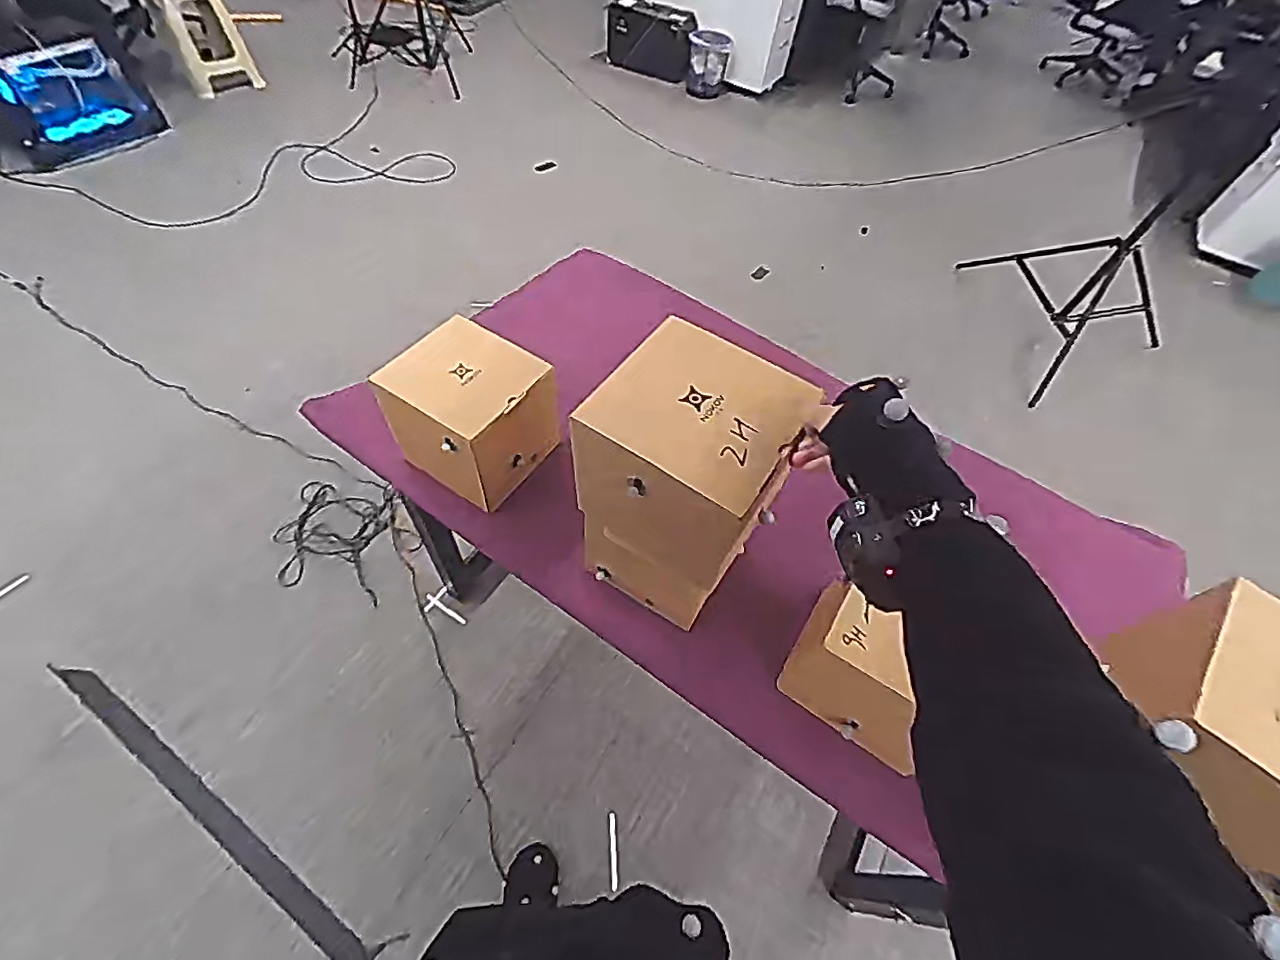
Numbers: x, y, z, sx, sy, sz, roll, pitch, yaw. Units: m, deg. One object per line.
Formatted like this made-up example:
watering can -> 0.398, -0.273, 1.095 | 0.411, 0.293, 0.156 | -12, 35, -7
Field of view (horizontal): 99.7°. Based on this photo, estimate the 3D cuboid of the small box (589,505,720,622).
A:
small box -> 0.048, 0.053, 0.700 | 0.168, 0.176, 0.179 | 29, 57, 13

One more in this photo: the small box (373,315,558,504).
small box -> -0.234, -0.095, 0.770 | 0.179, 0.176, 0.168 | 30, 58, 13

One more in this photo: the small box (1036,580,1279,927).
small box -> 0.482, 0.221, 0.436 | 0.168, 0.176, 0.179 | -36, 65, -29

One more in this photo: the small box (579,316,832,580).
small box -> 0.056, -0.026, 0.550 | 0.179, 0.176, 0.168 | 32, 62, 15
